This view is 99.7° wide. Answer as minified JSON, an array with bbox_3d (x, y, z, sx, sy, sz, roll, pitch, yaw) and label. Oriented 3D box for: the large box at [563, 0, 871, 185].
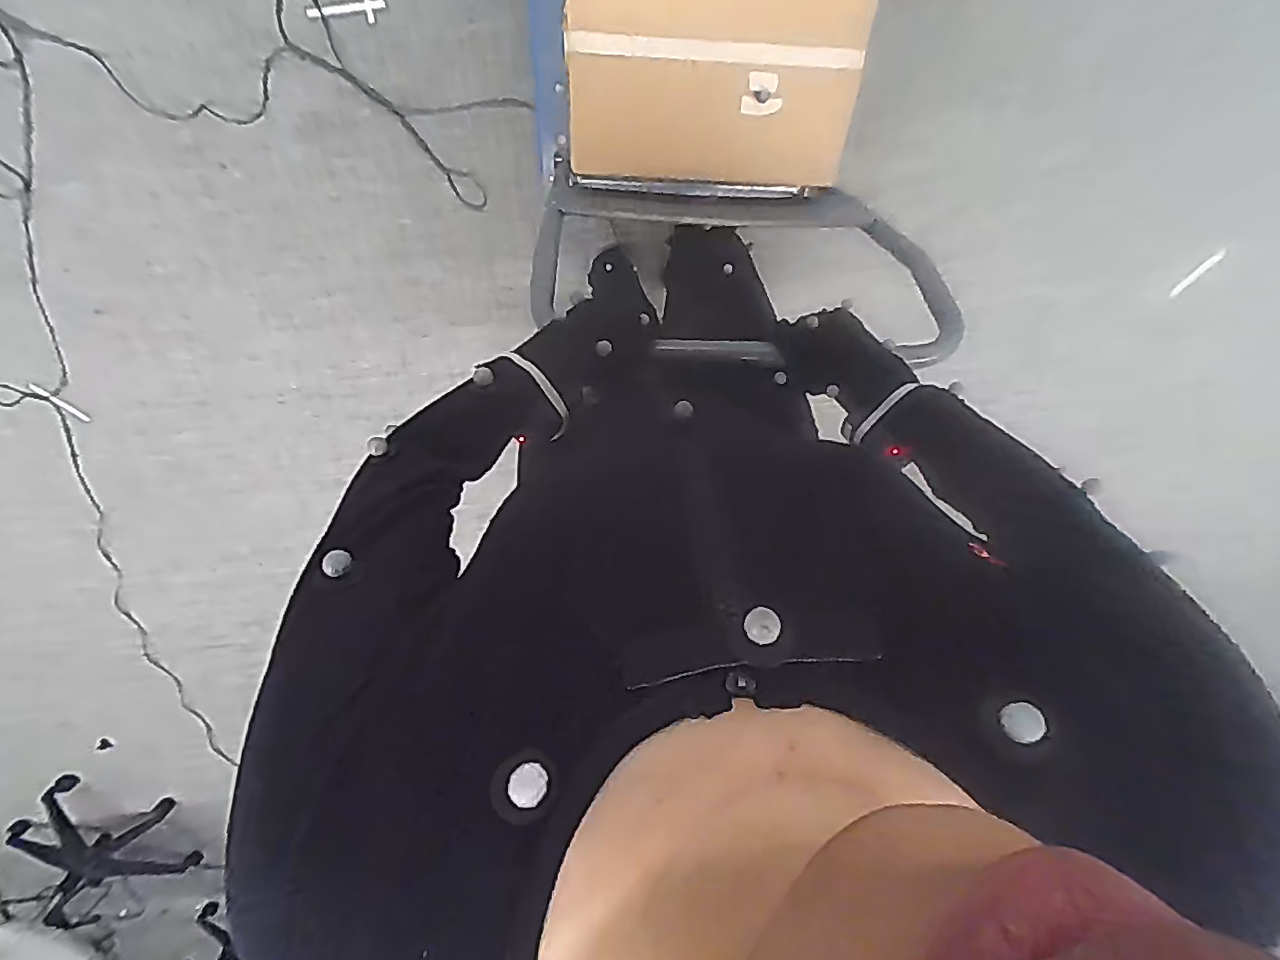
[{"bbox_3d":[0.088,-0.662,0.842,0.408,0.320,0.320,0,129,-5],"label":"large box"}]
